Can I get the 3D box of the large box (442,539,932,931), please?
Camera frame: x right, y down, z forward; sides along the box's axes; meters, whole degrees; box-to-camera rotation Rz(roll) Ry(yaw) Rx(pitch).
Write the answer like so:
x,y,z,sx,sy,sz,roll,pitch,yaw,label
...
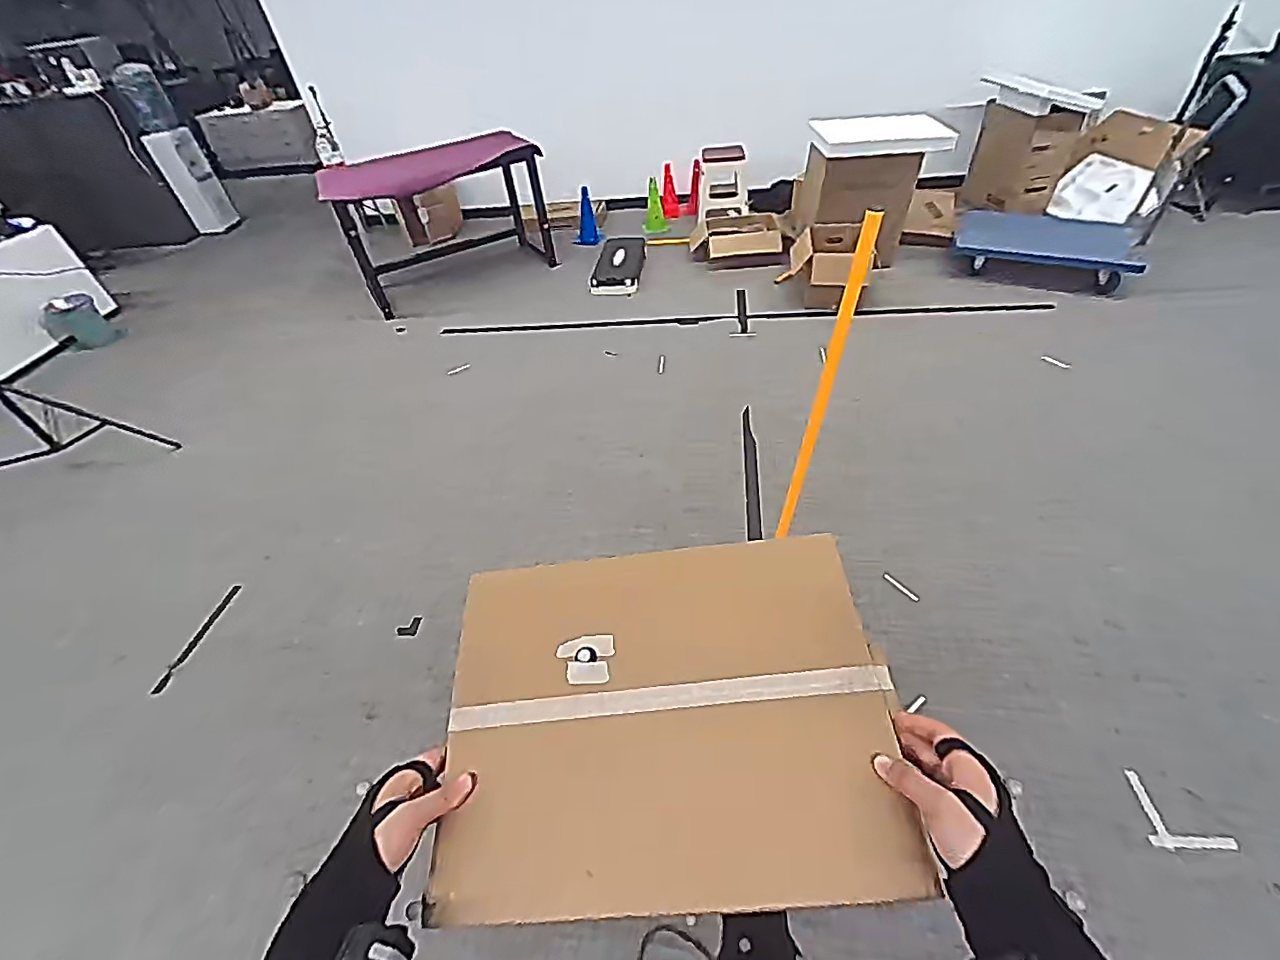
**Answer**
x,y,z,sx,sy,sz,roll,pitch,yaw,label
0.046,0.302,0.634,0.408,0.320,0.320,-9,52,6,large box
